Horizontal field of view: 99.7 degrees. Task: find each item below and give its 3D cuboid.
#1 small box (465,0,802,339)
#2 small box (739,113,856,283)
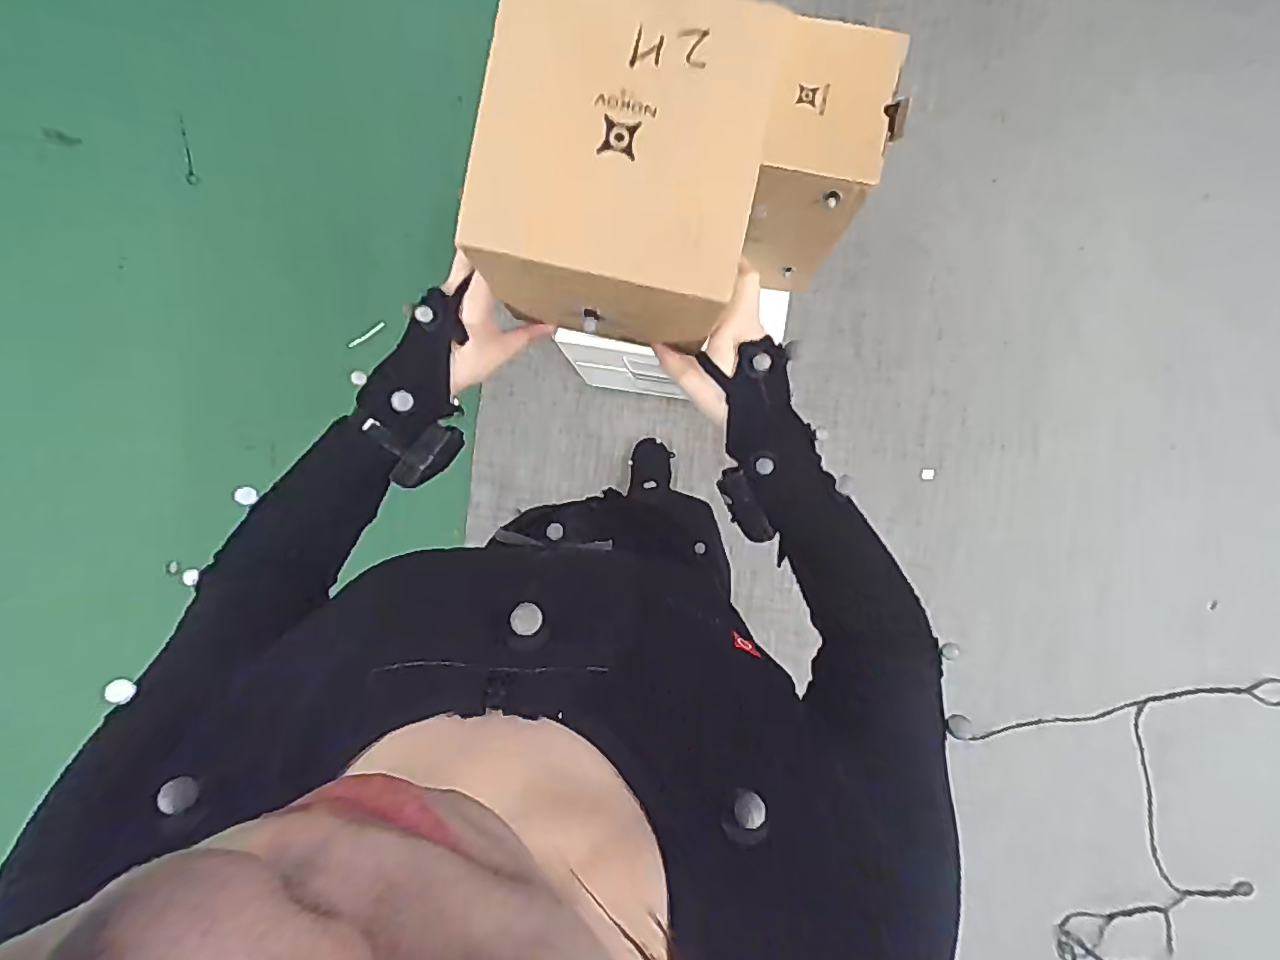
[{"bbox_3d":[-0.006,-0.214,0.387,0.168,0.176,0.179,12,92,-3],"label":"small box"},{"bbox_3d":[0.194,-0.410,0.808,0.179,0.176,0.168,10,92,3],"label":"small box"}]
